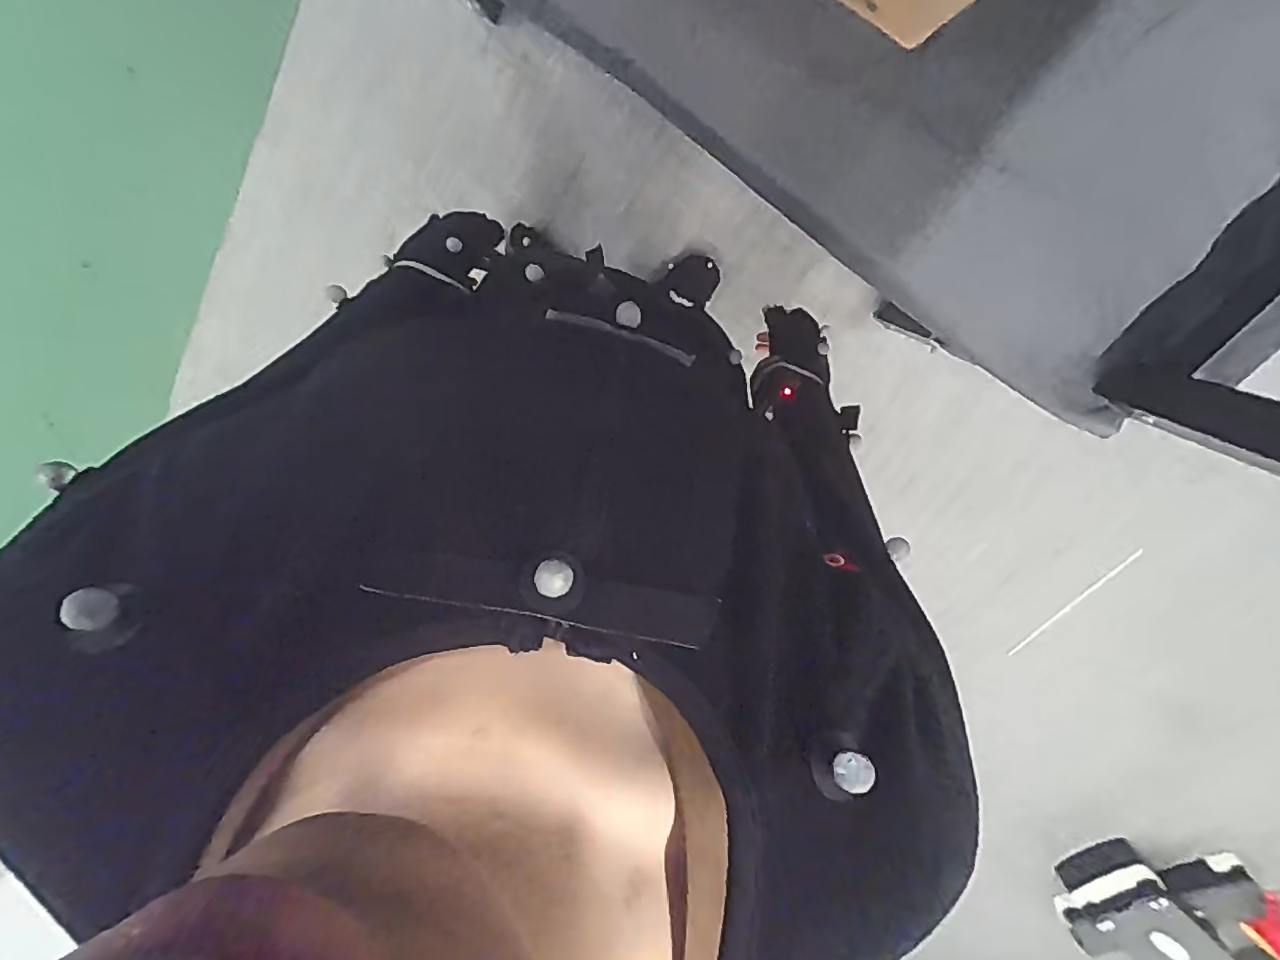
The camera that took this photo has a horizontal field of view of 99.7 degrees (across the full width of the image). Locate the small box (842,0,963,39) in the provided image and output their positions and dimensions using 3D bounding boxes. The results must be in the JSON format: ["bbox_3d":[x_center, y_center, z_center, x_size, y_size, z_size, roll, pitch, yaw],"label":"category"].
[{"bbox_3d":[0.240,-0.518,0.436,0.168,0.176,0.179,27,113,-9],"label":"small box"}]
